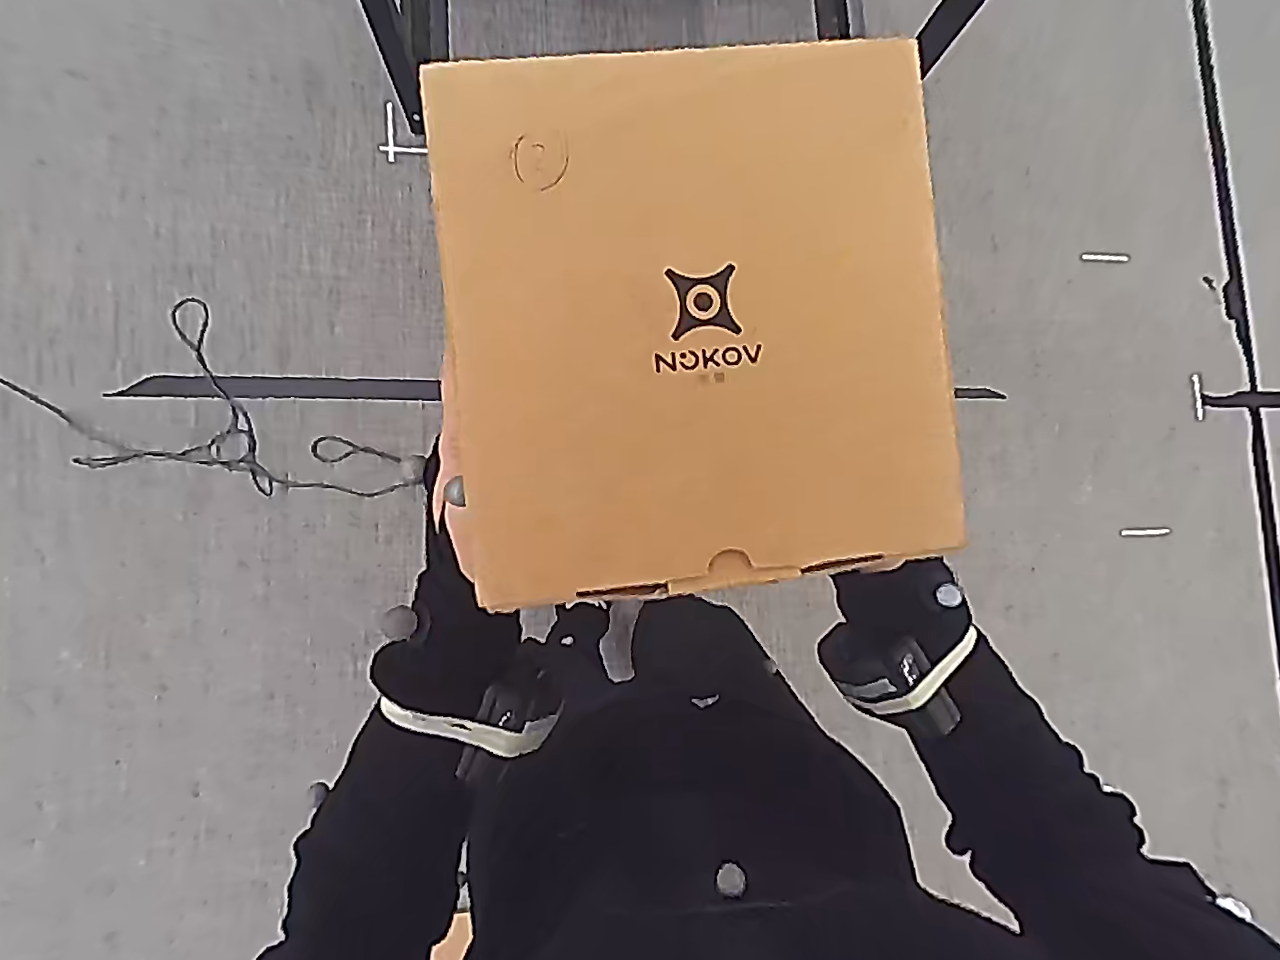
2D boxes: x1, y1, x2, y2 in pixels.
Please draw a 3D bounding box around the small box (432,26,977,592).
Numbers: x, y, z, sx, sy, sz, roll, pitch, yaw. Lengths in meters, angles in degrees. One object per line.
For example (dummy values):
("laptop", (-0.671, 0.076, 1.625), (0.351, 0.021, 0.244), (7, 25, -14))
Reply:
("small box", (0.017, -0.057, 0.254), (0.168, 0.176, 0.179), (-6, 91, -4))
